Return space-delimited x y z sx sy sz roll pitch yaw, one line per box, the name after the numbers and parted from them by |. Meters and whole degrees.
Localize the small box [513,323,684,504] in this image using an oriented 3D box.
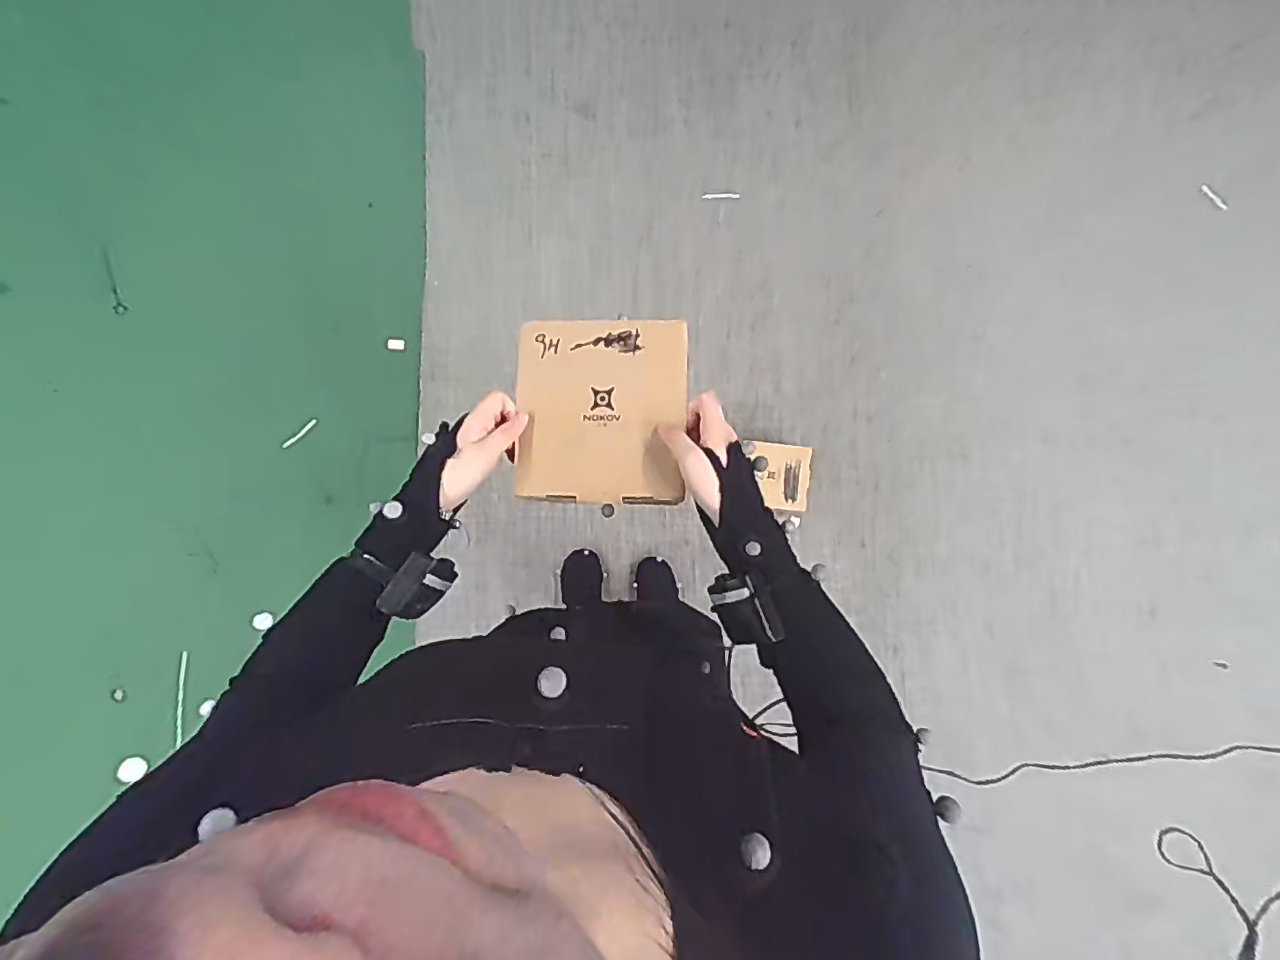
-0.036 -0.064 0.607 0.168 0.176 0.179 2 88 3 | small box
